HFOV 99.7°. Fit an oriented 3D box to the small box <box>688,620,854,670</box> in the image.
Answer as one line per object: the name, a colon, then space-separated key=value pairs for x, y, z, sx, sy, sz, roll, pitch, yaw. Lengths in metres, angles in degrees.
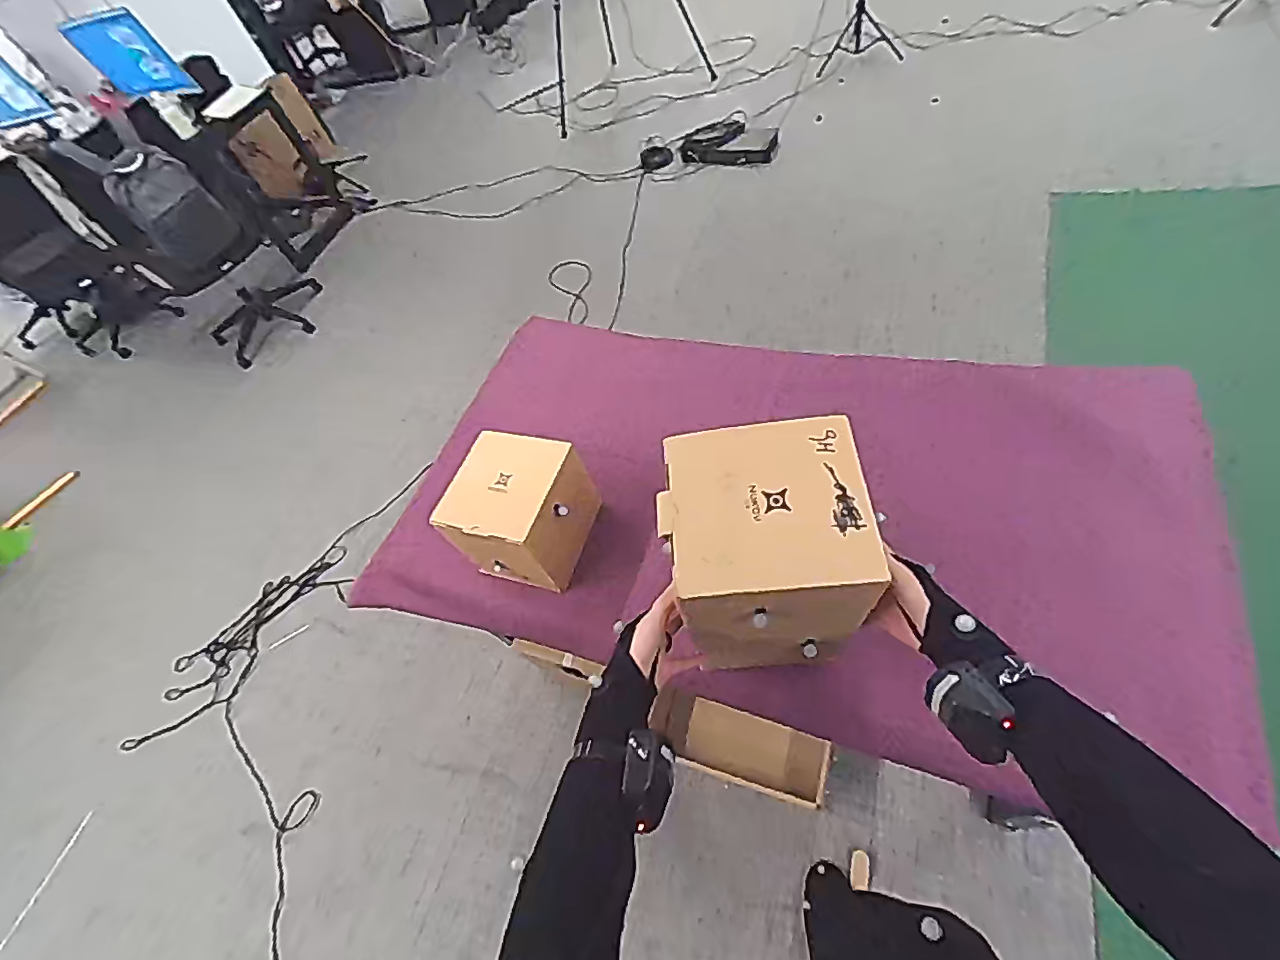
small box: x=0.148 y=0.136 z=0.681 sx=0.179 sy=0.176 sz=0.168 roll=-7 pitch=60 yaw=7

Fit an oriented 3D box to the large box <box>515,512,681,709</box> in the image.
large box: x=-0.069 y=0.342 z=1.443 sx=0.320 sy=0.320 sz=0.408 roll=9 pitch=61 yaw=21

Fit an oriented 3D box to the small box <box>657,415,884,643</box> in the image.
small box: x=0.119 y=0.059 z=0.537 sx=0.179 sy=0.176 sz=0.168 roll=-7 pitch=61 yaw=8

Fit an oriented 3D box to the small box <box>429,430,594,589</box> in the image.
small box: x=-0.188 y=0.047 z=0.855 sx=0.168 sy=0.176 sz=0.179 roll=9 pitch=60 yaw=21
